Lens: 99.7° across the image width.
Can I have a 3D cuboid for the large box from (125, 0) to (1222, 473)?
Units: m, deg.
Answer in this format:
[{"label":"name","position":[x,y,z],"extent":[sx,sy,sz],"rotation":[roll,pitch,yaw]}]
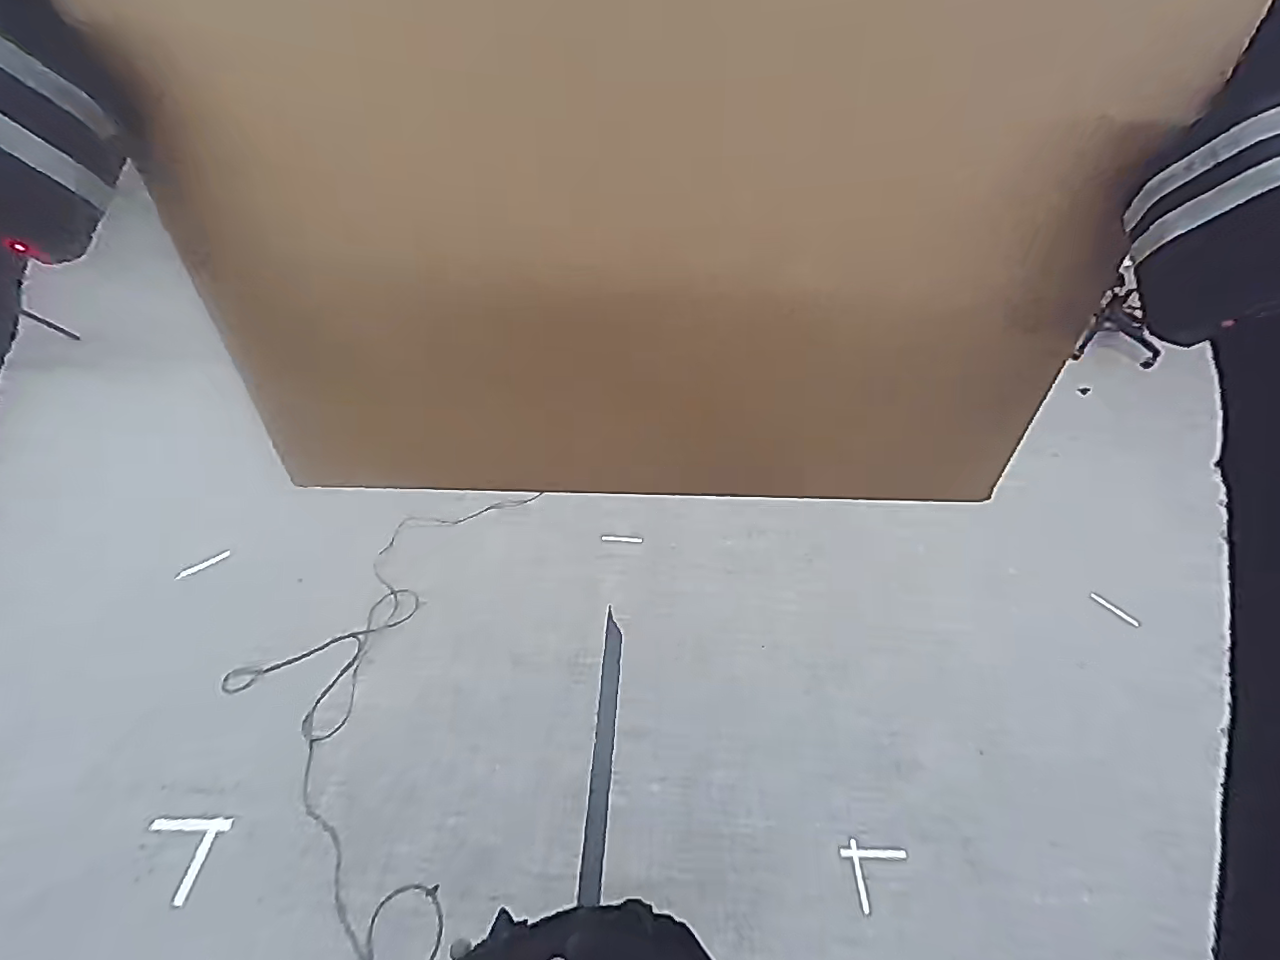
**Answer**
[{"label":"large box","position":[0.009,-0.216,0.344],"extent":[0.408,0.320,0.320],"rotation":[2,40,-1]}]
